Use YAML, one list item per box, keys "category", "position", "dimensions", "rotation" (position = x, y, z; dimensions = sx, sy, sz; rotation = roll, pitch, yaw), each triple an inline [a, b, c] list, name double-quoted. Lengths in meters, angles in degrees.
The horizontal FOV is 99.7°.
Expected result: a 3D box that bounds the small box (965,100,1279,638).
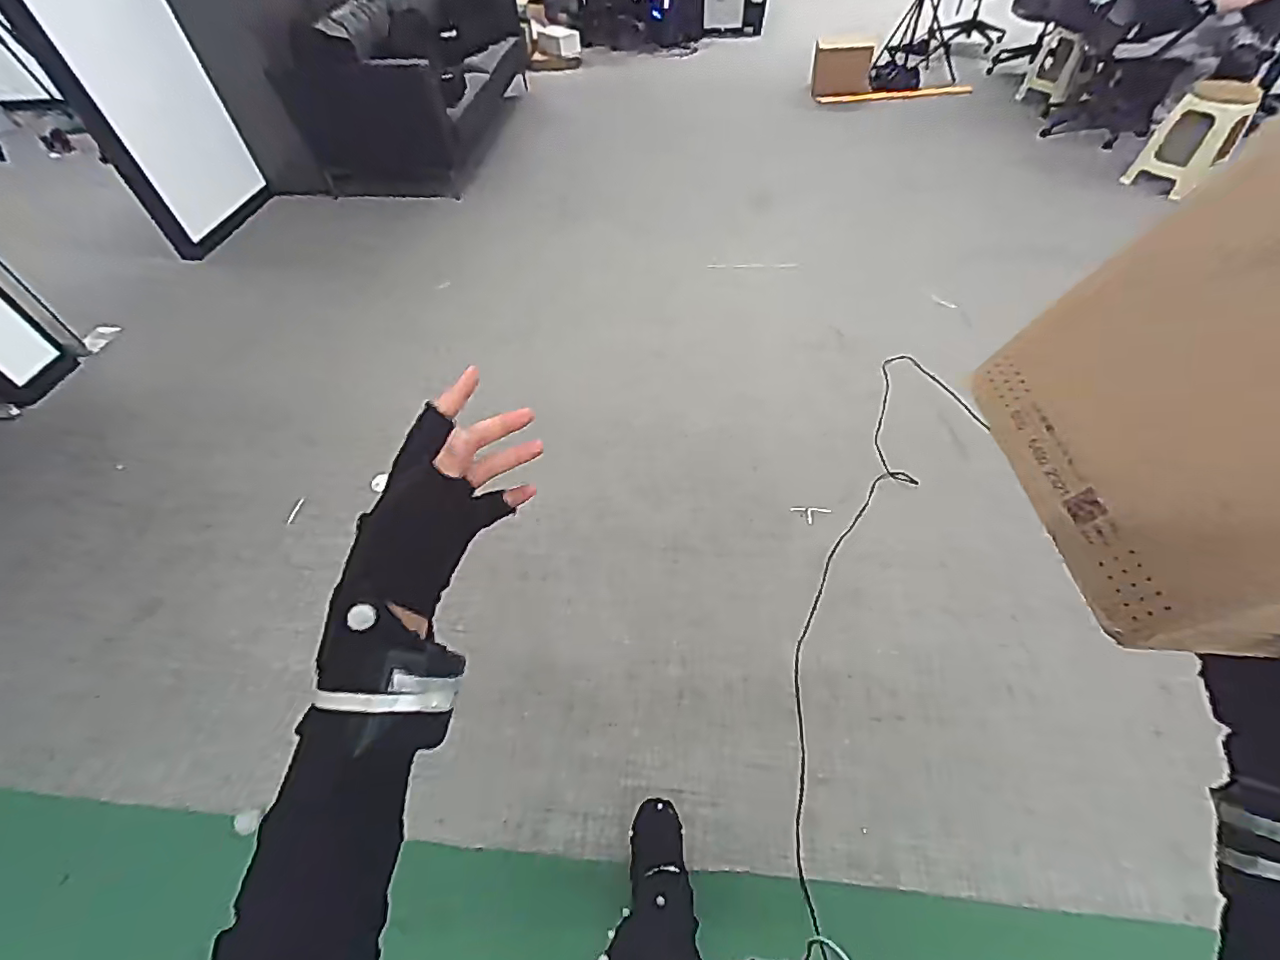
- category: "small box"
  position: [0.301, -0.034, 0.248]
  dimensions: [0.179, 0.176, 0.168]
  rotation: [8, 54, -21]
